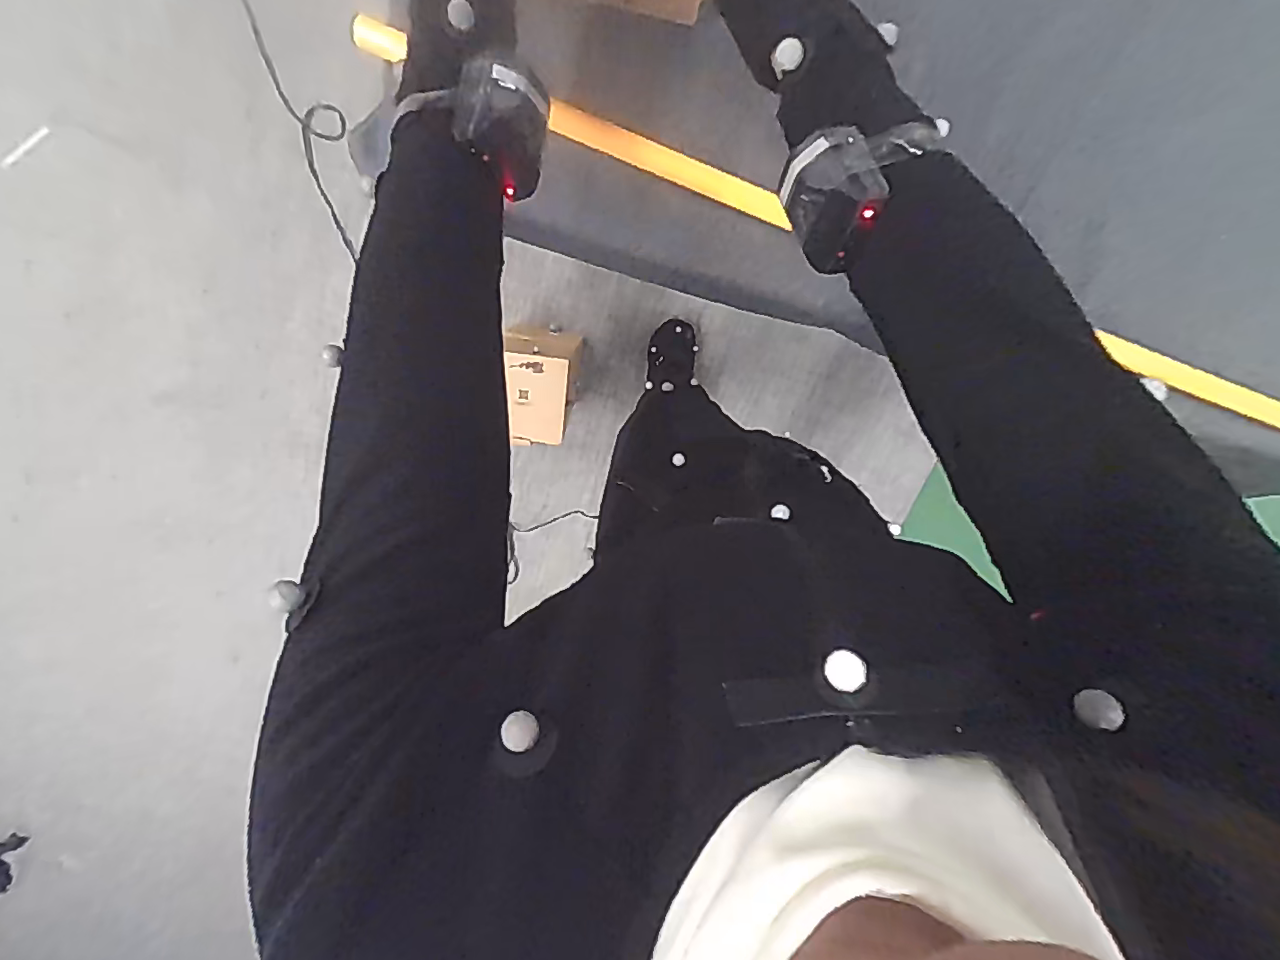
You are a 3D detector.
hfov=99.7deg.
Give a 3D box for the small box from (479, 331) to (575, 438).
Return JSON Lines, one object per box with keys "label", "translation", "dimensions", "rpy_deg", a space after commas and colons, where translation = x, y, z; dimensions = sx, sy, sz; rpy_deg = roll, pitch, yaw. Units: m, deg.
{"label": "small box", "translation": [-0.228, -0.202, 1.120], "dimensions": [0.168, 0.176, 0.179], "rpy_deg": [5, 113, -2]}
